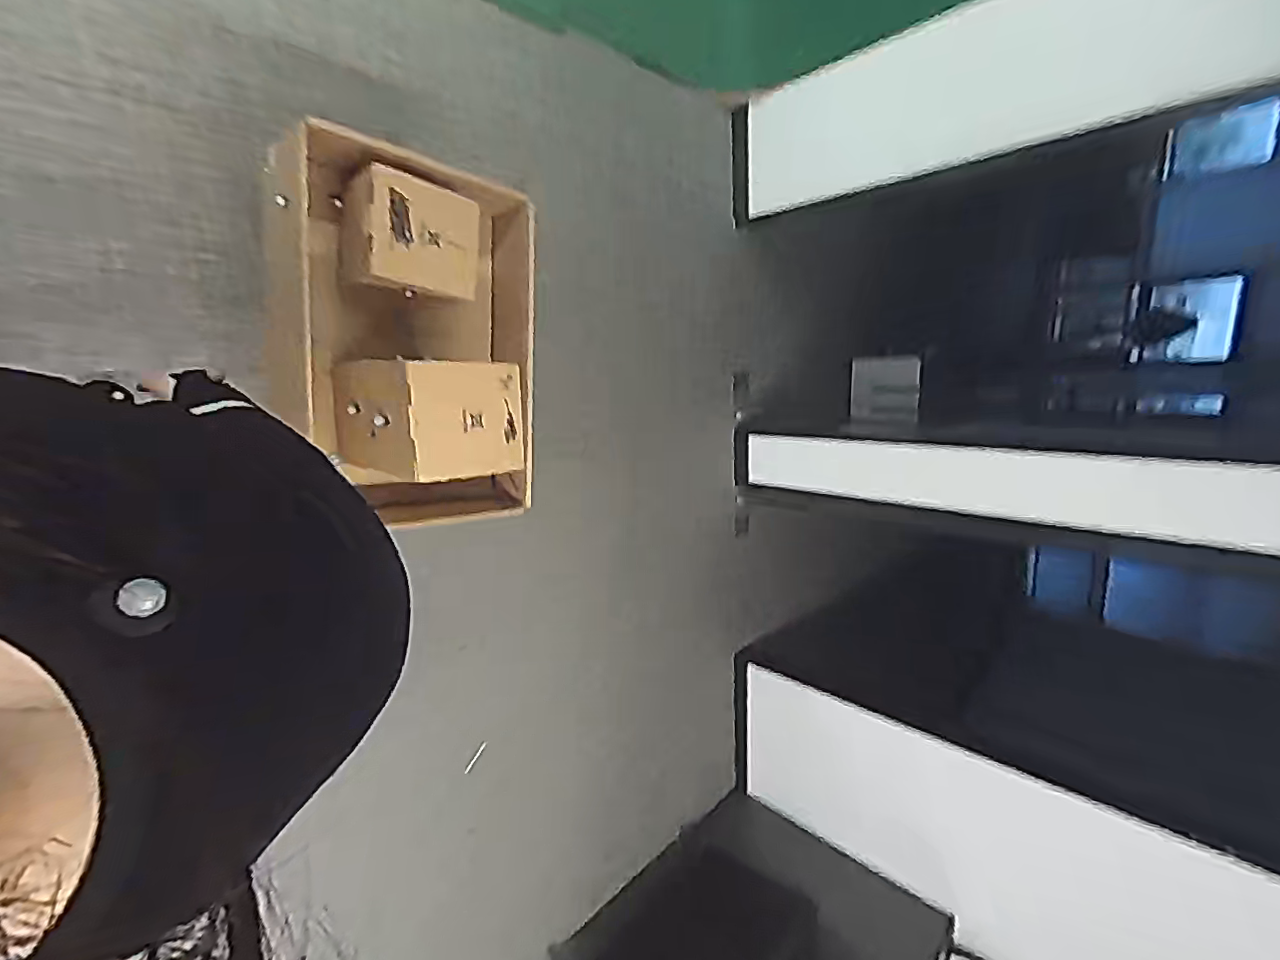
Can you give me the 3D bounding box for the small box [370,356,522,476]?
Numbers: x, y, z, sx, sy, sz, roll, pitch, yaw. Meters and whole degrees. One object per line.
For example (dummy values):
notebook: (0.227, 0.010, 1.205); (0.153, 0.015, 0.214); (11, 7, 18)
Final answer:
small box: (-0.307, -0.101, 0.847); (0.179, 0.176, 0.168); (-9, 103, -44)
